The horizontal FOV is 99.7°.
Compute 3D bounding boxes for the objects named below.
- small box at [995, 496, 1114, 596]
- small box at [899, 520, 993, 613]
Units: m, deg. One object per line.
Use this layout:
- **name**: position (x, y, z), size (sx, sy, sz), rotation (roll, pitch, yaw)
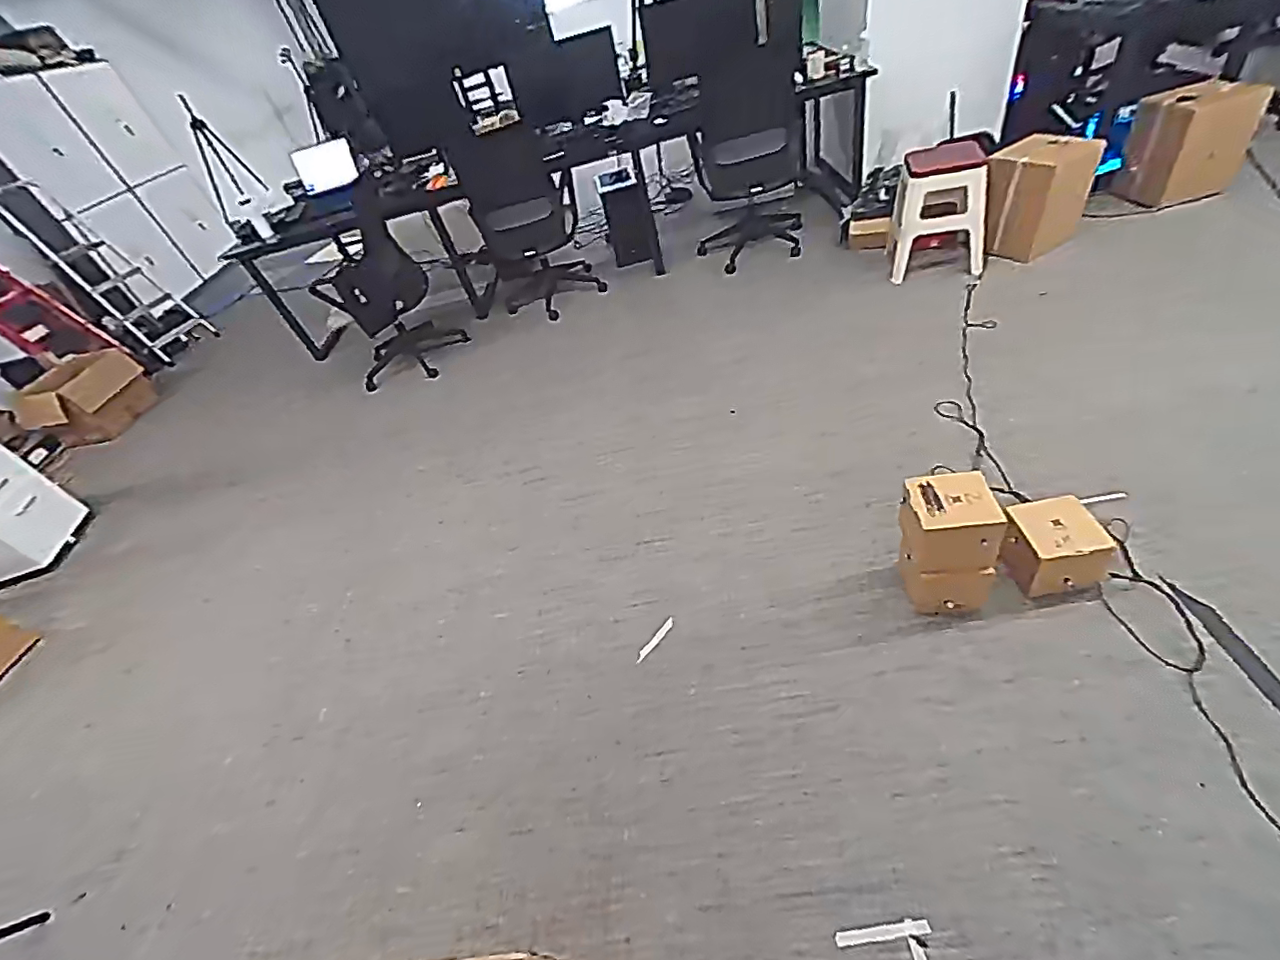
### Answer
- **small box**: position (1.049, 0.172, 1.389), size (0.168, 0.176, 0.179), rotation (-12, 43, 10)
- **small box**: position (0.792, 0.229, 1.421), size (0.168, 0.176, 0.179), rotation (-8, 45, 13)
